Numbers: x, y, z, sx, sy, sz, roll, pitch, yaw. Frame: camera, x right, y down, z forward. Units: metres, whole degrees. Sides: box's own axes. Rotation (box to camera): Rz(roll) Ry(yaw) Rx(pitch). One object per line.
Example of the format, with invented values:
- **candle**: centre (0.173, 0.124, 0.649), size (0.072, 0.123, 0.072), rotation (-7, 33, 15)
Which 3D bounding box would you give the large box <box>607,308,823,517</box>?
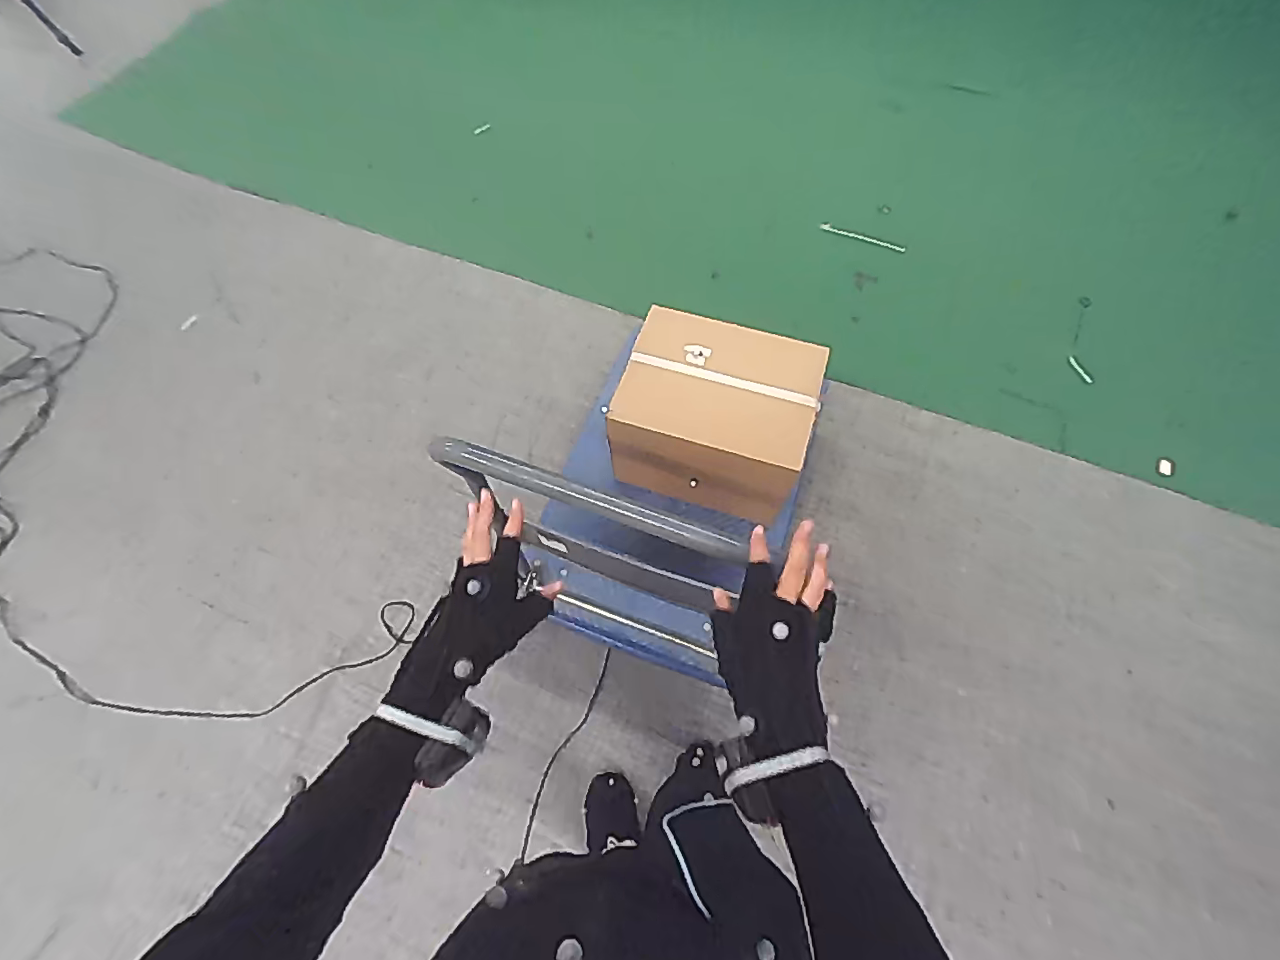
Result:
- **large box**: centre (0.171, -0.147, 1.271), size (0.408, 0.320, 0.320), rotation (16, 66, 9)
